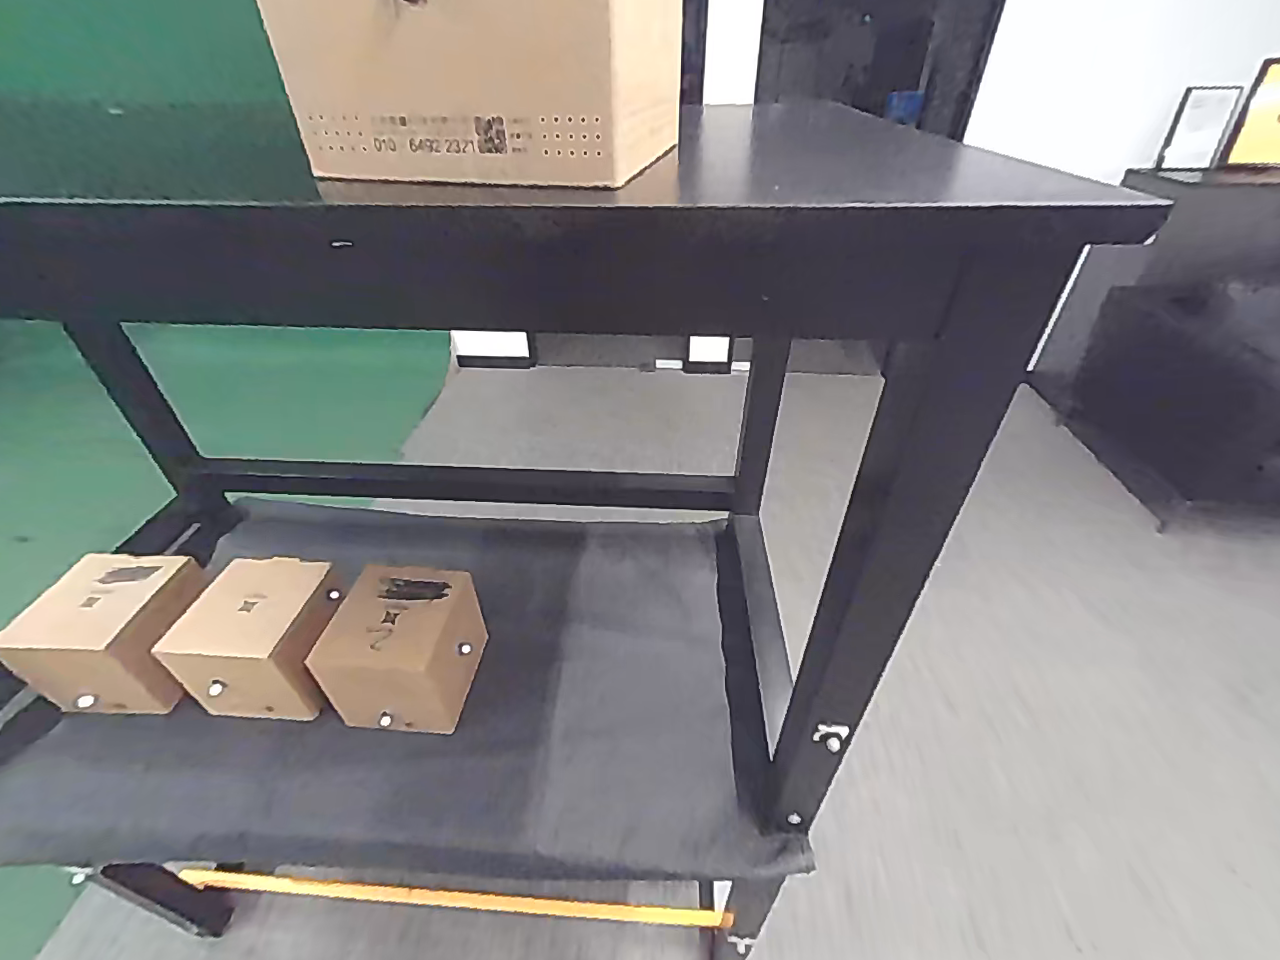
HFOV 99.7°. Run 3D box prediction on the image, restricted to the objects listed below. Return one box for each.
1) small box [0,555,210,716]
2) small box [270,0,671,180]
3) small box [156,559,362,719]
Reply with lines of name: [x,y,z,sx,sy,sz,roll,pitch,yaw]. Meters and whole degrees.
small box: [-0.788,0.238,0.837,0.168,0.176,0.179,1,38,1]
small box: [-0.076,-0.267,0.289,0.168,0.176,0.179,8,38,10]
small box: [-0.562,0.244,0.831,0.168,0.176,0.179,2,37,3]
